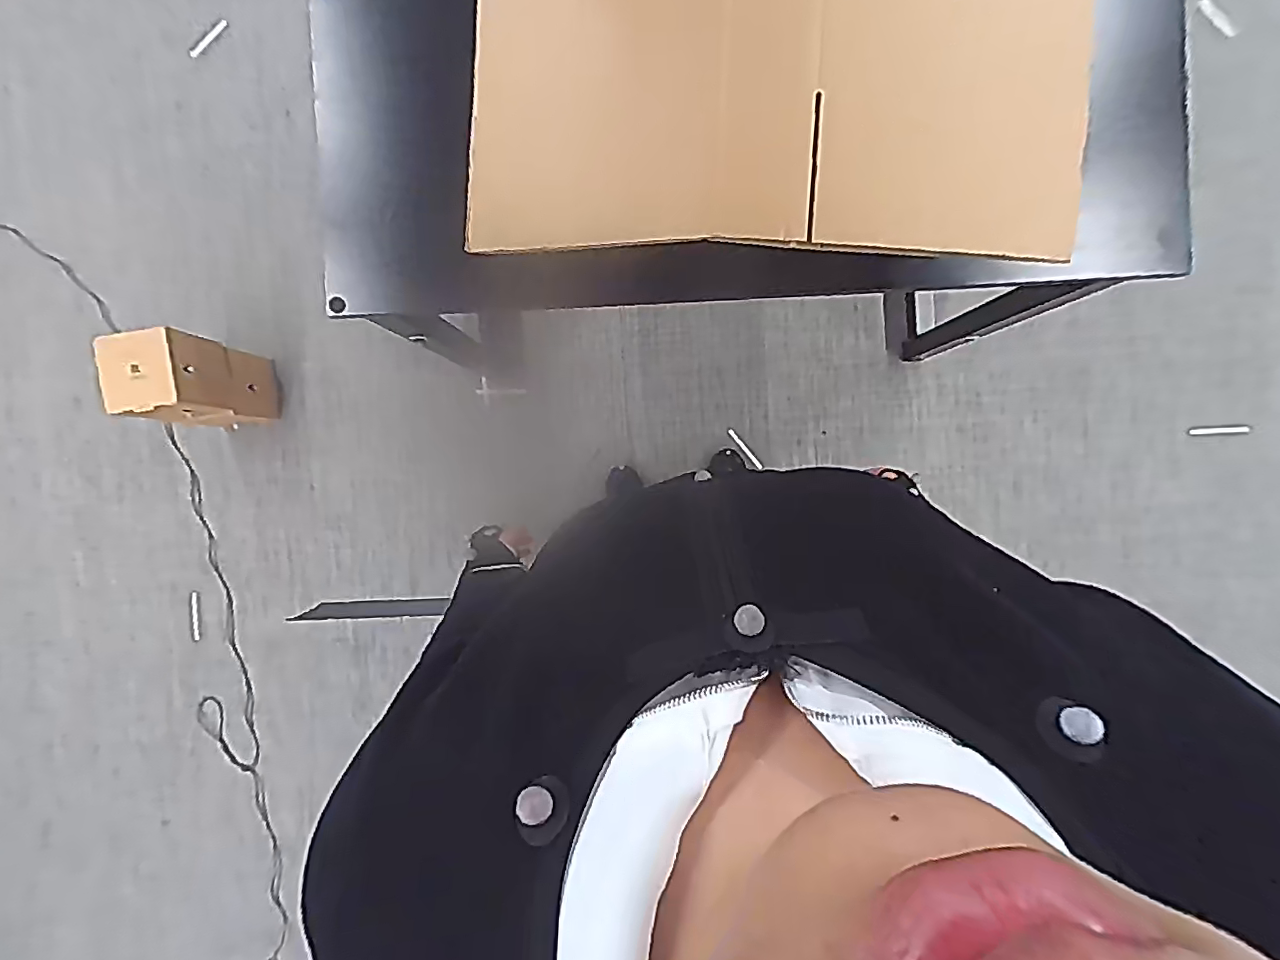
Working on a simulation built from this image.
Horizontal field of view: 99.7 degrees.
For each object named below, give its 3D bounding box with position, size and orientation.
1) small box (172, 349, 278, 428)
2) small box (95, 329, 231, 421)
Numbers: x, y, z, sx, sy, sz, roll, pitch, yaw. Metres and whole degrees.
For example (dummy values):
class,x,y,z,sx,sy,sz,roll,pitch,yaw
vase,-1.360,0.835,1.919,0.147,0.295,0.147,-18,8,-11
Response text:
class,x,y,z,sx,sy,sz,roll,pitch,yaw
small box,-1.103,-0.237,1.436,0.168,0.176,0.179,-7,92,2
small box,-1.109,-0.239,1.273,0.168,0.176,0.179,-10,90,1
